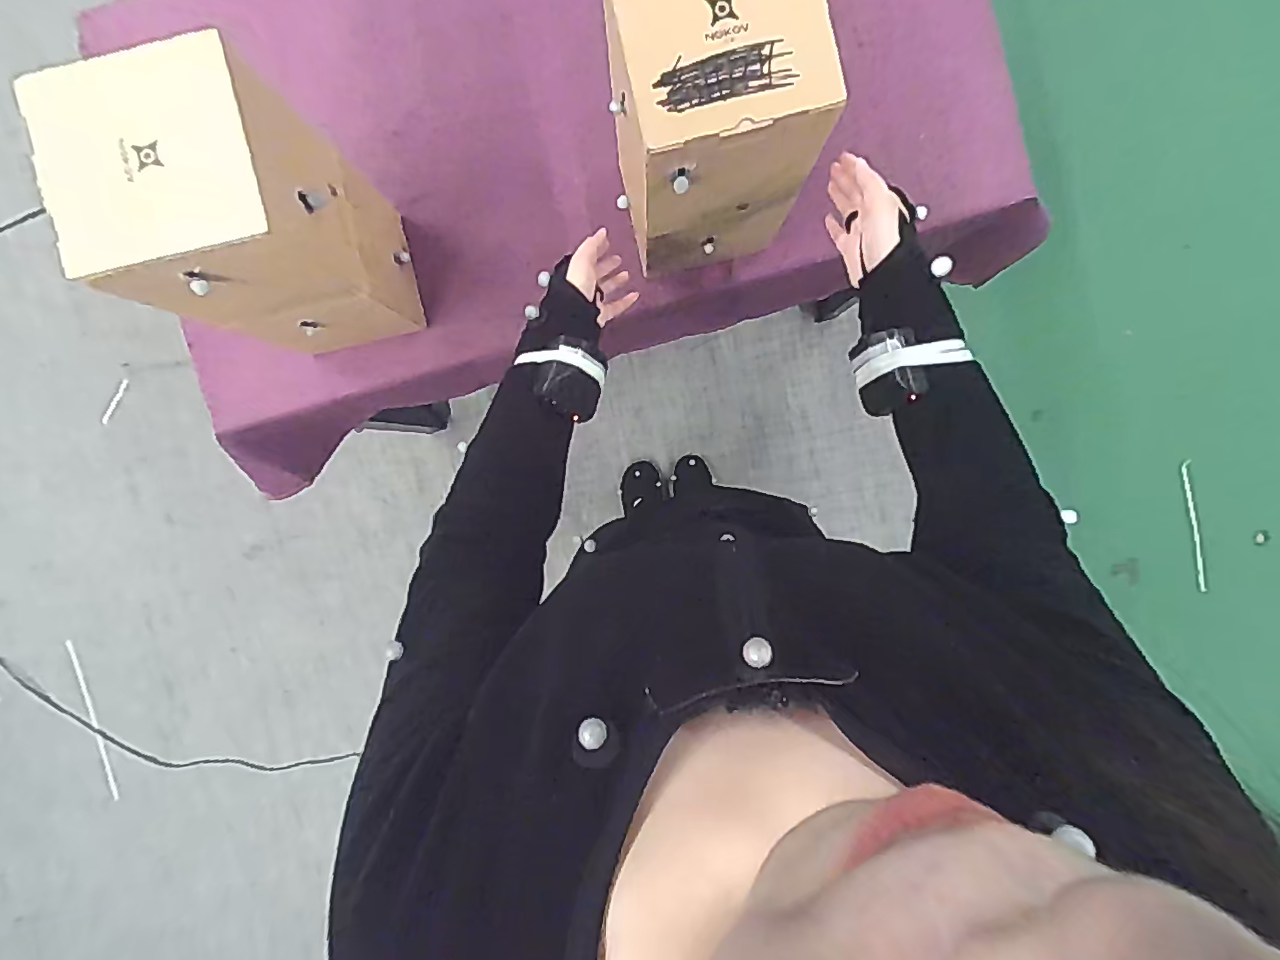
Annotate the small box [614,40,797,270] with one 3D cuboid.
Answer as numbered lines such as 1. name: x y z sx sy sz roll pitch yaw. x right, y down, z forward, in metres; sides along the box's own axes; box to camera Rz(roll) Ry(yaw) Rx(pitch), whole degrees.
1. small box: 0.073 -0.381 0.667 0.179 0.176 0.168 -13 93 3

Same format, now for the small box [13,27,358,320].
1. small box: -0.398 -0.267 0.514 0.179 0.176 0.168 -13 93 2

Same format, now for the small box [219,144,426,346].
1. small box: -0.400 -0.276 0.676 0.179 0.176 0.168 -13 94 2
